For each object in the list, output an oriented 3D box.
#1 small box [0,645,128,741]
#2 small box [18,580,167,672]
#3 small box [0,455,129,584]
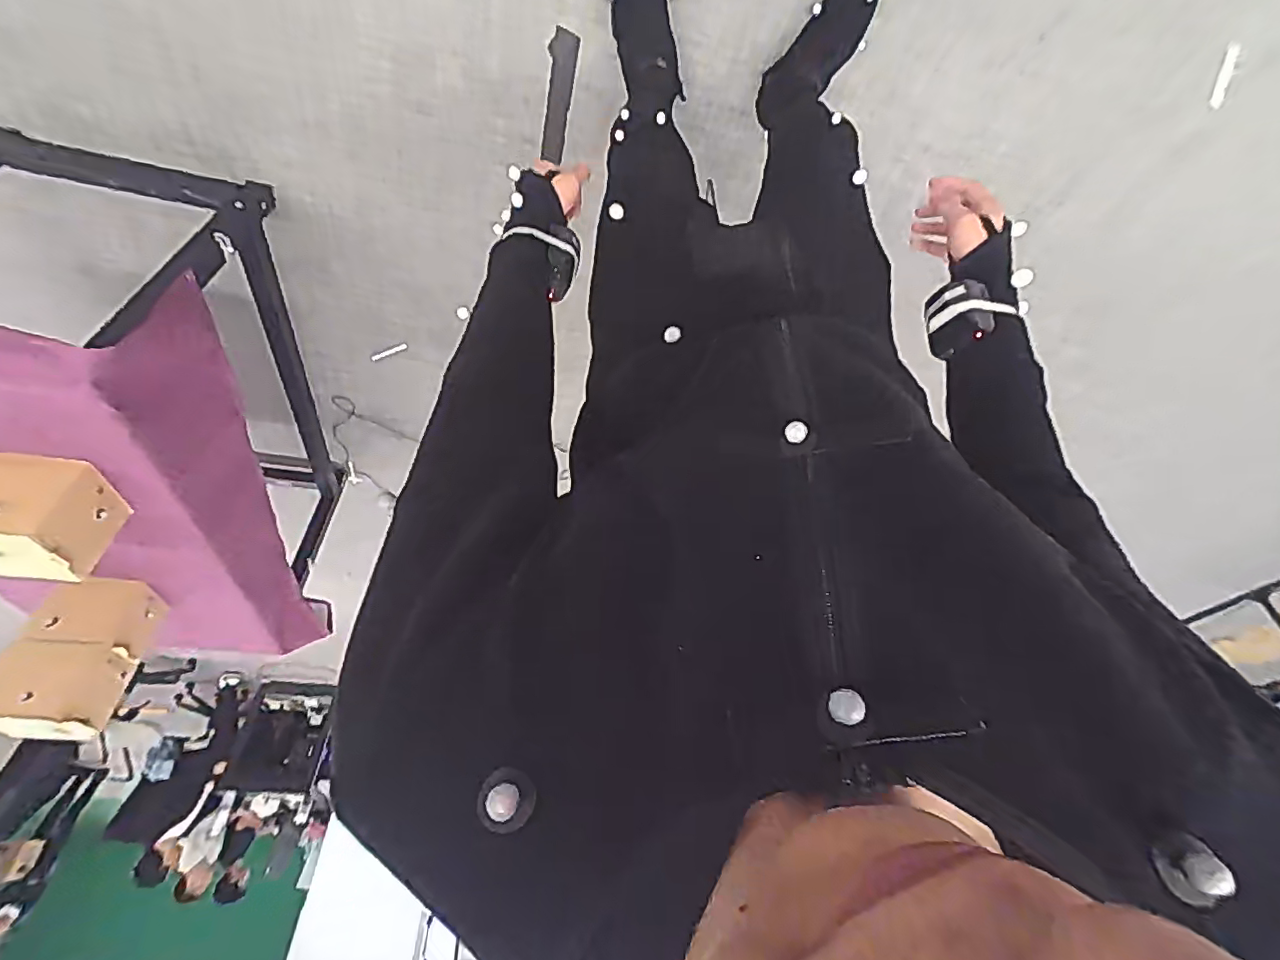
[{"bbox_3d":[-1.344,0.490,1.245,0.179,0.176,0.168,6,140,-8],"label":"small box"},{"bbox_3d":[-1.346,0.361,1.347,0.179,0.176,0.168,8,141,-12],"label":"small box"},{"bbox_3d":[-1.118,0.072,0.995,0.179,0.176,0.168,7,141,-10],"label":"small box"}]
